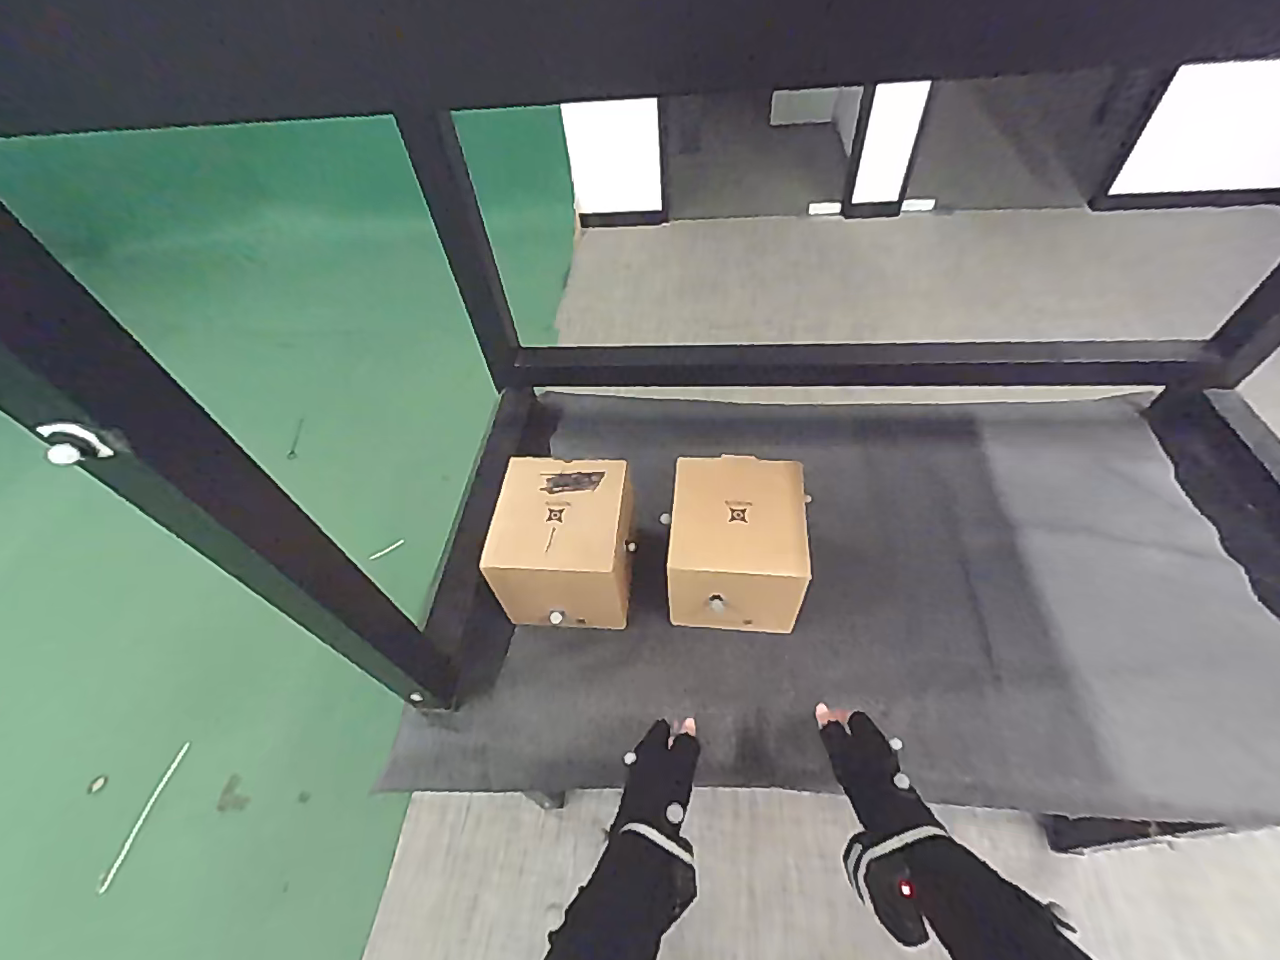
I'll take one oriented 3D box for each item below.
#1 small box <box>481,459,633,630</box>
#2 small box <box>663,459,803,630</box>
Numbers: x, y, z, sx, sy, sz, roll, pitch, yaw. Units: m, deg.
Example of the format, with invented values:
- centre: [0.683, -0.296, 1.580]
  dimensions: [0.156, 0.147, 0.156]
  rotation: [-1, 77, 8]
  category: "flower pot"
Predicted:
- centre: [-0.102, 0.091, 0.764]
  dimensions: [0.168, 0.176, 0.179]
  rotation: [1, 52, 6]
  category: "small box"
- centre: [0.125, 0.092, 0.745]
  dimensions: [0.168, 0.176, 0.179]
  rotation: [2, 51, 7]
  category: "small box"
